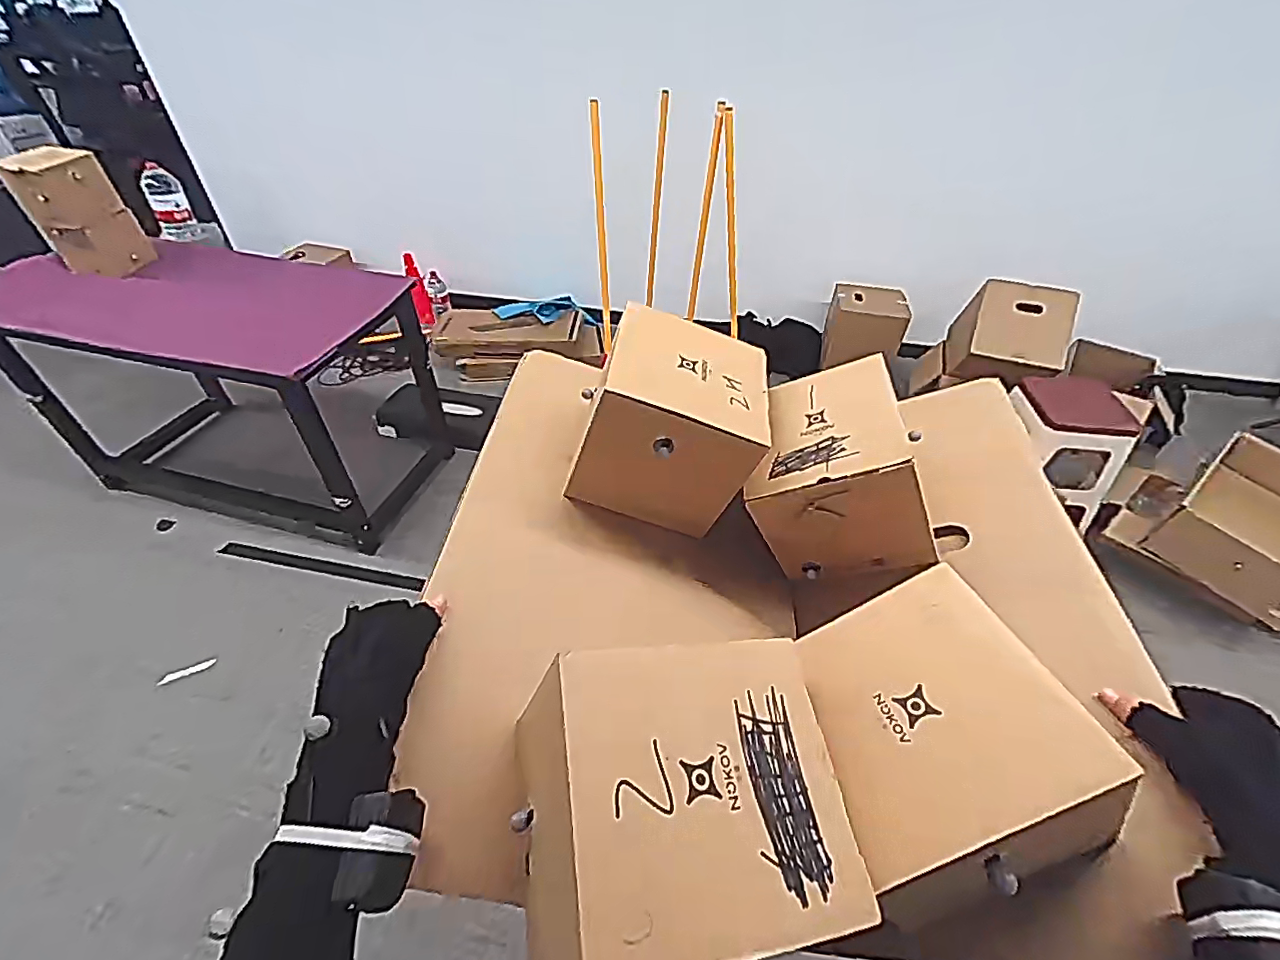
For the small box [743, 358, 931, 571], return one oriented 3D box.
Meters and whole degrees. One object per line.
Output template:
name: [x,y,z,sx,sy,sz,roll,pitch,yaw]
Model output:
small box: [0.231,-0.008,0.644,0.168,0.176,0.179,-15,41,26]
